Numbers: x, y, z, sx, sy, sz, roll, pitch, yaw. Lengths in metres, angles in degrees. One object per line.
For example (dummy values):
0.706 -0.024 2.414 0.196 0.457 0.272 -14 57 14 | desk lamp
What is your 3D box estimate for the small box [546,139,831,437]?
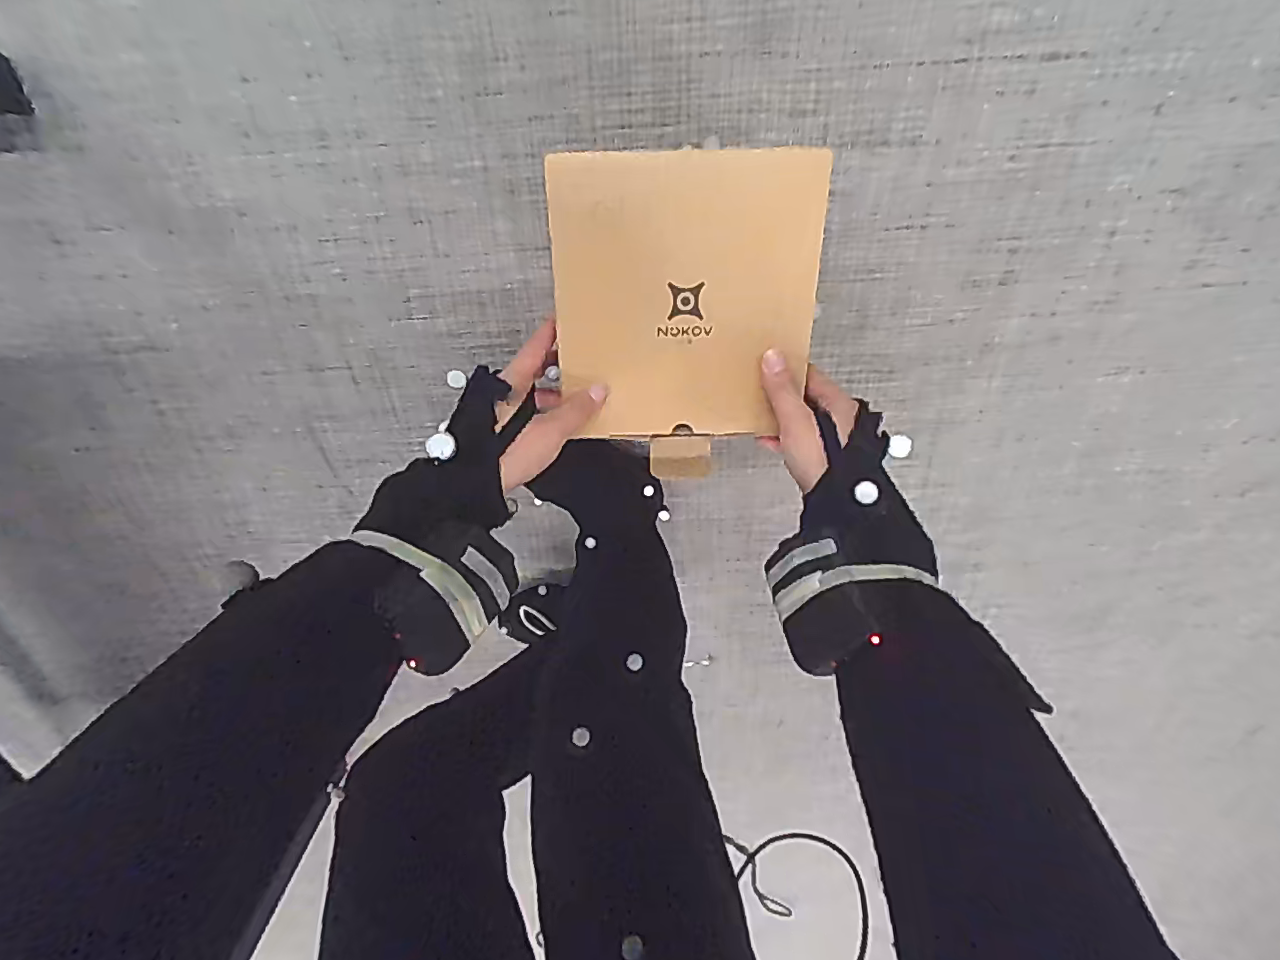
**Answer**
0.025 -0.143 0.408 0.168 0.176 0.179 -1 116 -1 | small box
